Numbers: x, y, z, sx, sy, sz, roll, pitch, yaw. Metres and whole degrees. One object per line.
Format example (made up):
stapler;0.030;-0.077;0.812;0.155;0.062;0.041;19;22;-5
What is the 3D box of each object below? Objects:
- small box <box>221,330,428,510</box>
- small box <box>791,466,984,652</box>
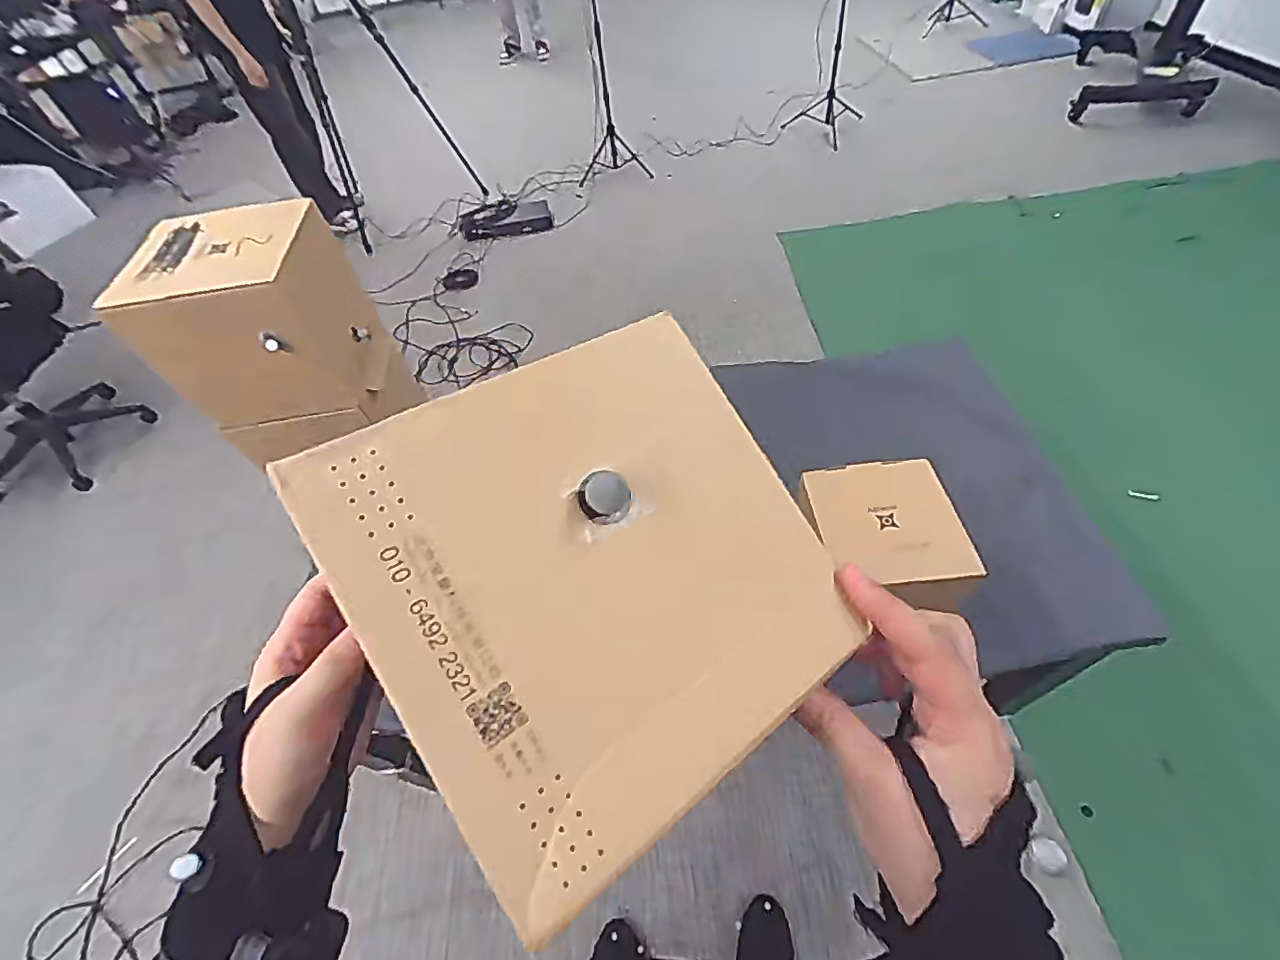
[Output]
small box;-0.416;-0.078;0.753;0.179;0.176;0.168;-10;53;1
small box;0.305;0.107;0.715;0.168;0.176;0.179;-7;51;4
